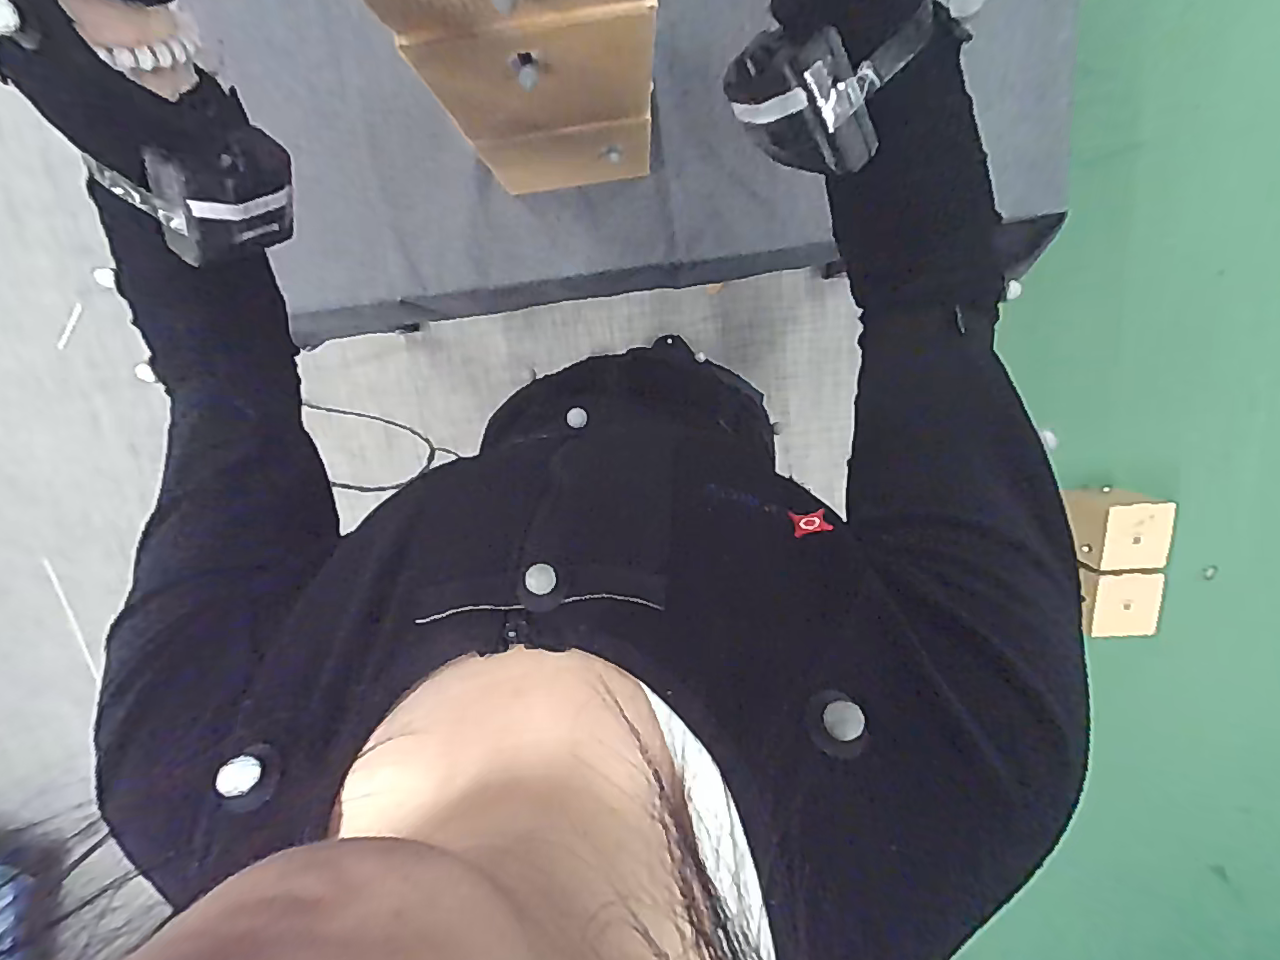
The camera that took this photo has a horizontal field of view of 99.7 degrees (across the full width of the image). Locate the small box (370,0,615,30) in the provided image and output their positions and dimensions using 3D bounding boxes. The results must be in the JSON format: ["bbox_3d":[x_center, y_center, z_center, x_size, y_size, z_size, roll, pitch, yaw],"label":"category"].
[{"bbox_3d":[-0.085,-0.360,0.257,0.179,0.176,0.168,-6,102,1],"label":"small box"}]

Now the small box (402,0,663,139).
[{"bbox_3d":[-0.082,-0.394,0.418,0.179,0.176,0.168,-8,103,2],"label":"small box"}]
